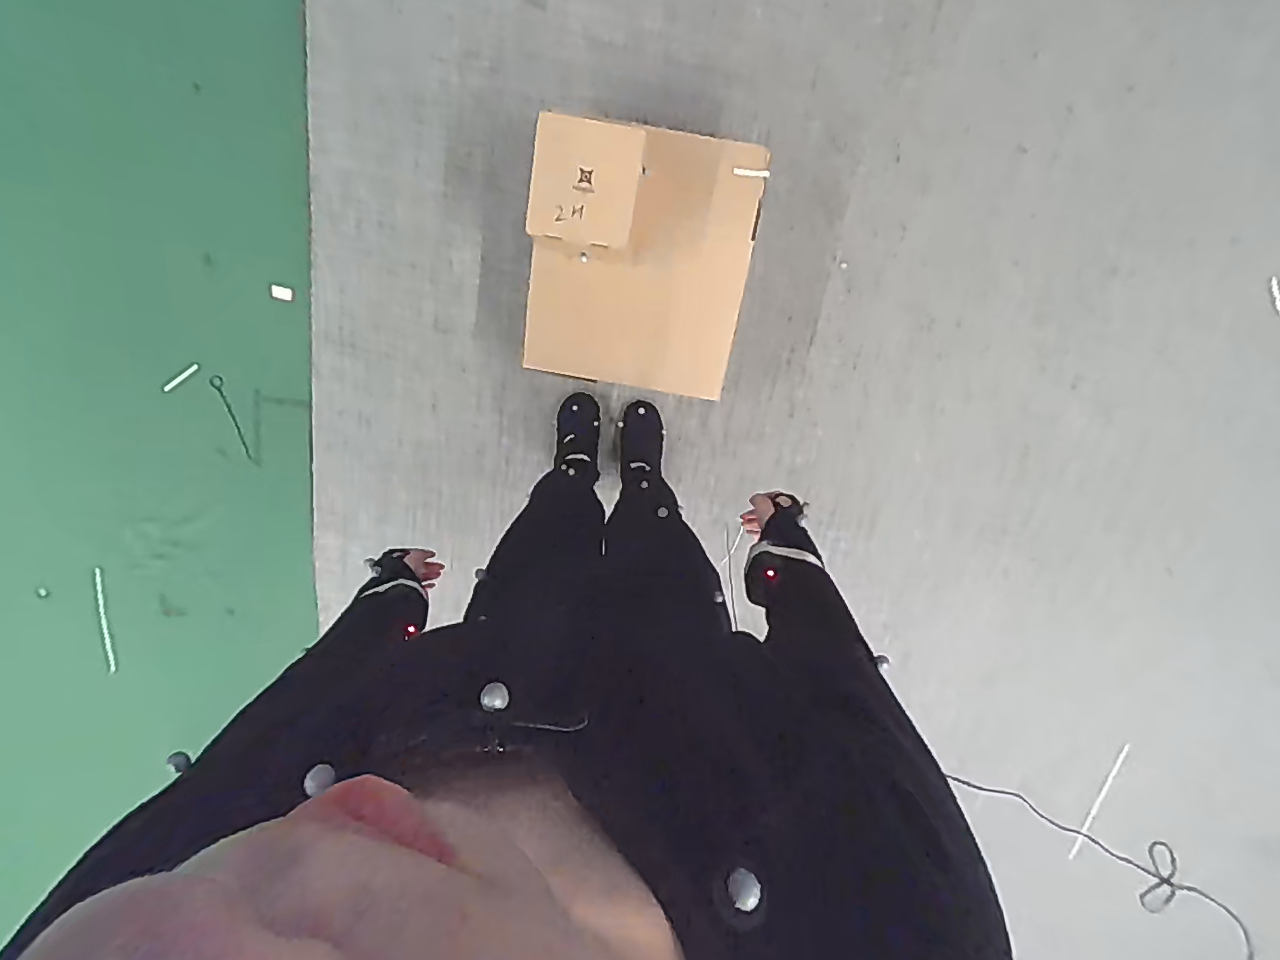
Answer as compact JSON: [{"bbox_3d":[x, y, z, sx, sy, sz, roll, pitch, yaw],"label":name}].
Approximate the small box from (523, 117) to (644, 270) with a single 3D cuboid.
[{"bbox_3d":[-0.089,-0.470,0.914,0.168,0.176,0.179,10,104,-1],"label":"small box"}]
